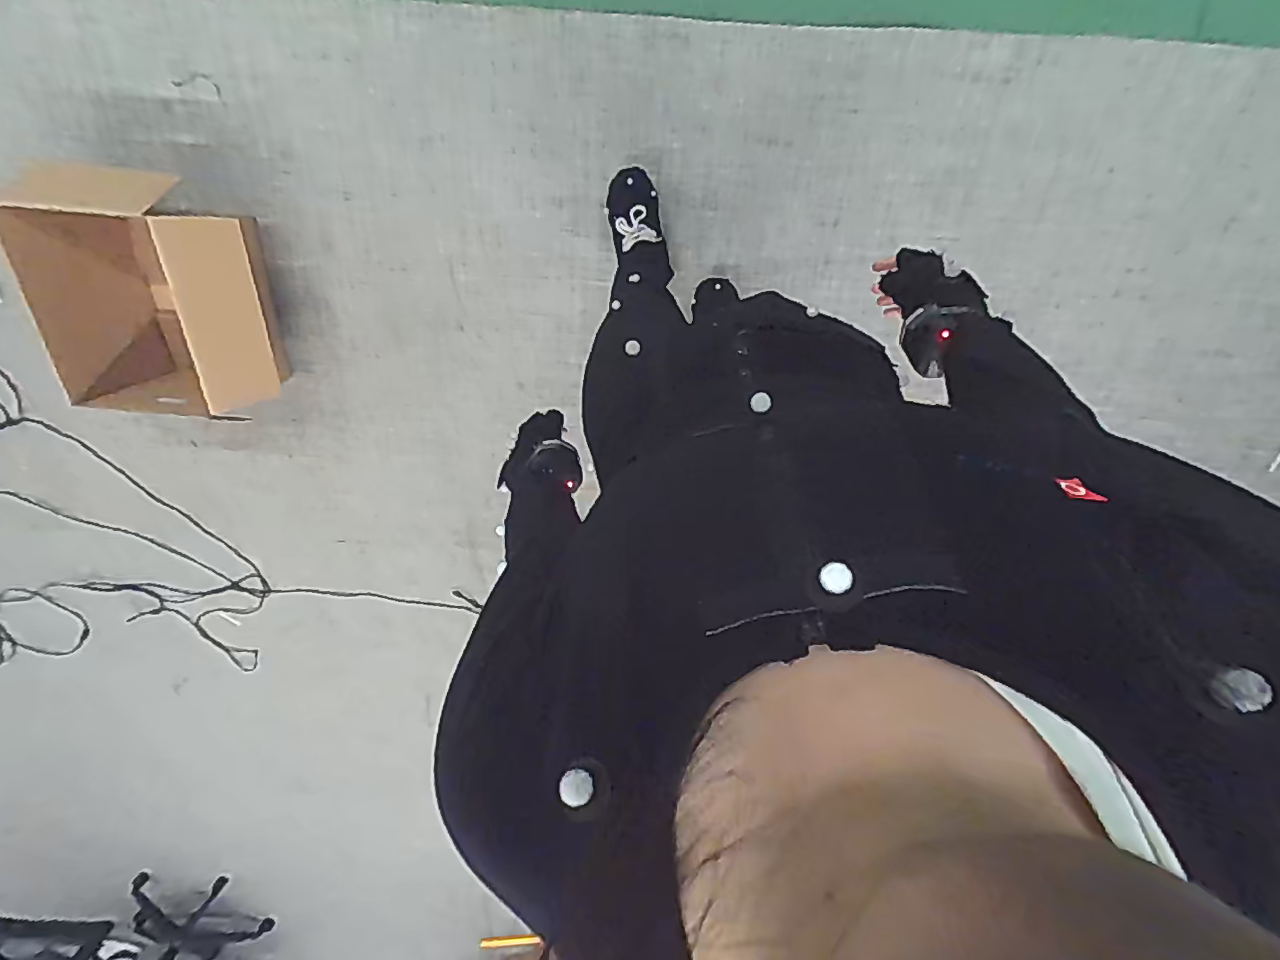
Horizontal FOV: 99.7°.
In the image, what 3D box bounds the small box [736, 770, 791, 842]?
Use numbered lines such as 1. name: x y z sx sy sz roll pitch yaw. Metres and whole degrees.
1. small box: 0.468 1.248 2.073 0.168 0.176 0.179 2 116 0
